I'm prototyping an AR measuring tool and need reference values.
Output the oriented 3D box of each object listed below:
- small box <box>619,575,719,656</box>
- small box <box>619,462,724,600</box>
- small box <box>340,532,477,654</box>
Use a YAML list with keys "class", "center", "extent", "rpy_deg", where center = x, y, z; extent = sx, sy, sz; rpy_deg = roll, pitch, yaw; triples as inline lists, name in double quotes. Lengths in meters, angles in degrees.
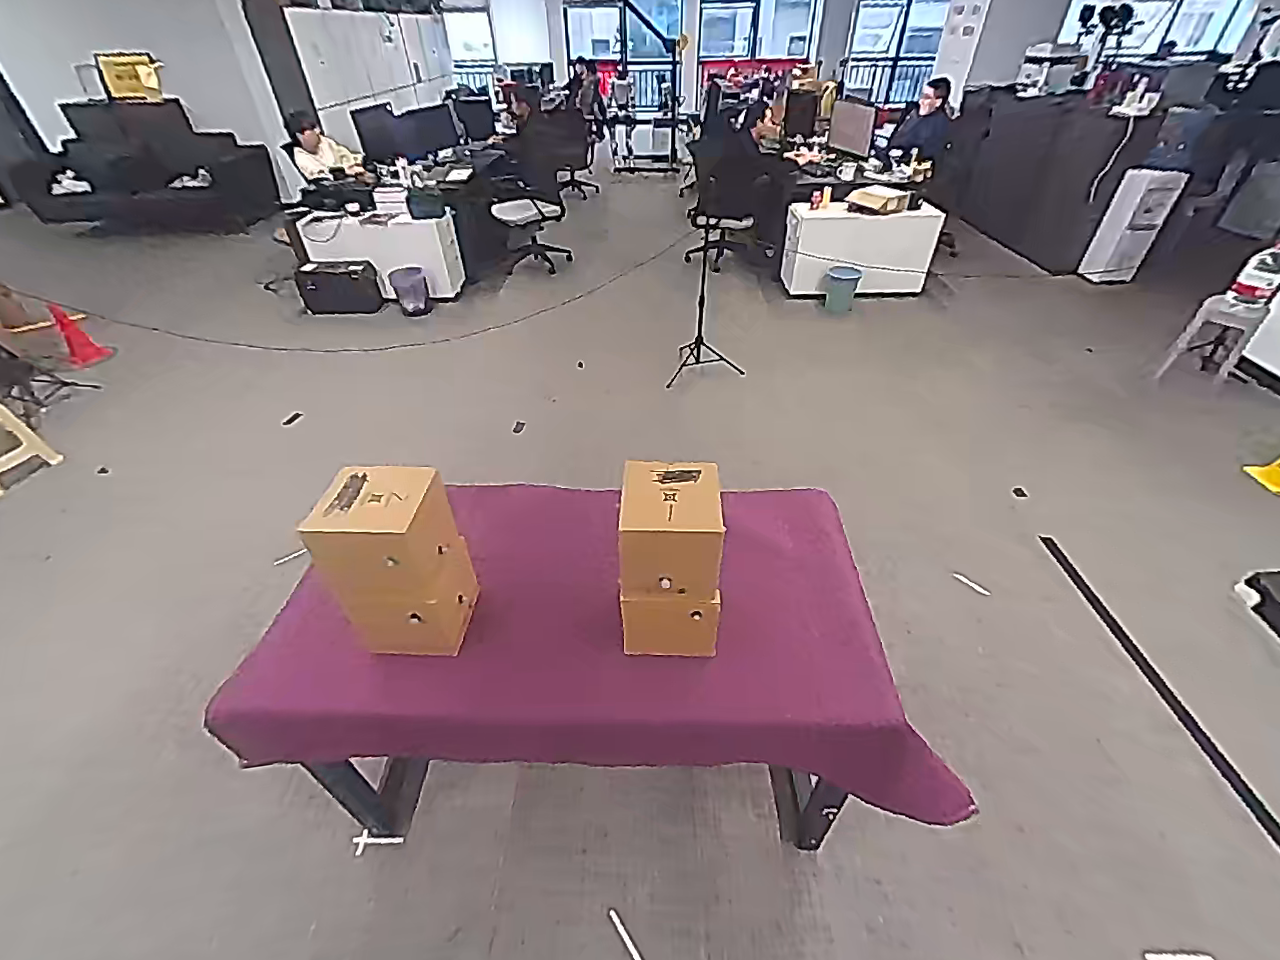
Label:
- class: "small box"
  center: [0.056, 0.222, 1.043]
  extent: [0.179, 0.176, 0.168]
  rpy_deg: [1, 39, 2]
- class: "small box"
  center: [0.053, 0.088, 0.948]
  extent: [0.168, 0.176, 0.179]
  rpy_deg: [1, 40, 3]
- class: "small box"
  center: [-0.433, 0.221, 1.050]
  extent: [0.179, 0.176, 0.168]
  rpy_deg: [2, 40, 3]
